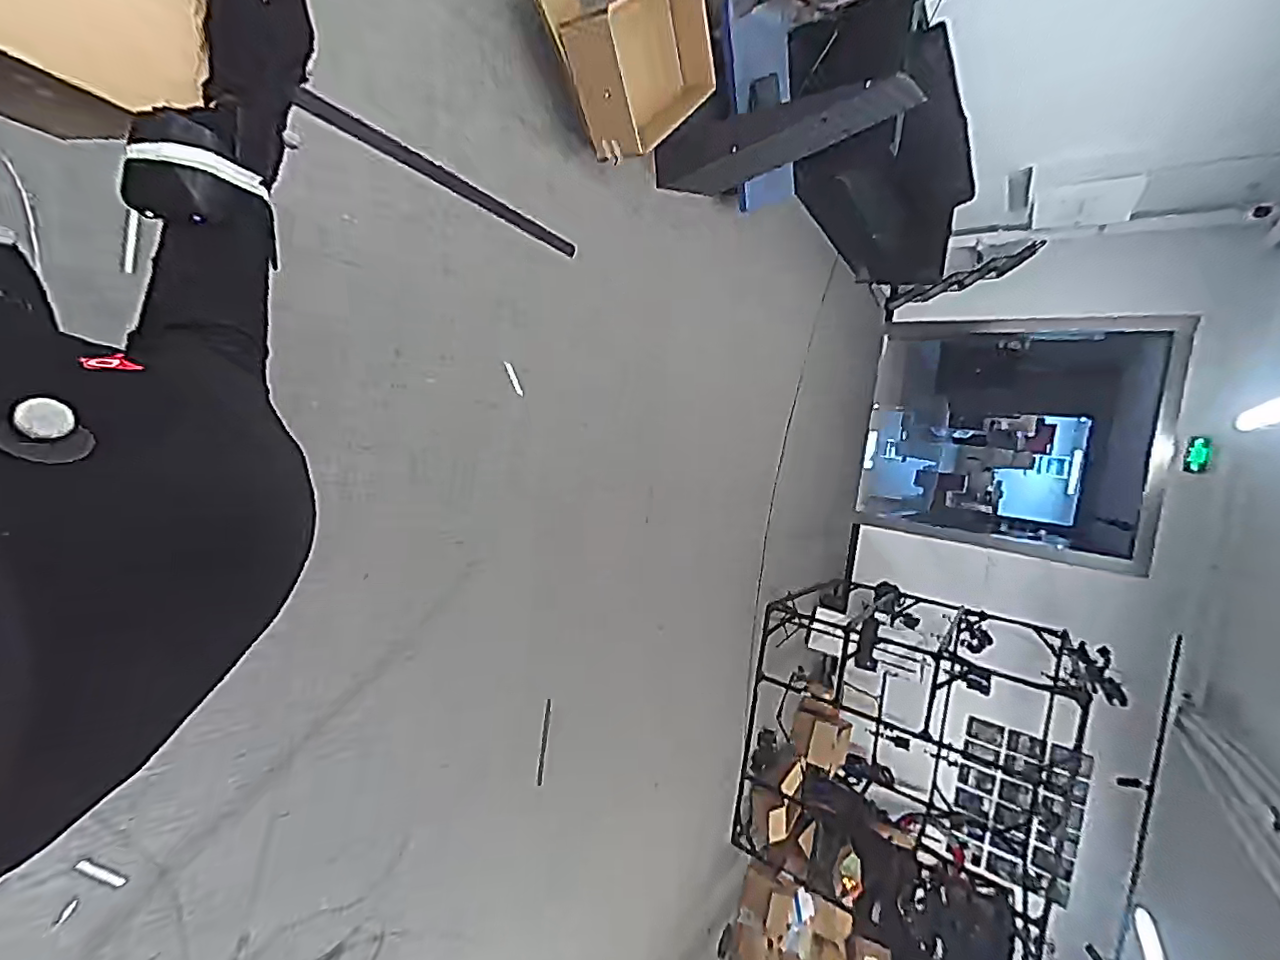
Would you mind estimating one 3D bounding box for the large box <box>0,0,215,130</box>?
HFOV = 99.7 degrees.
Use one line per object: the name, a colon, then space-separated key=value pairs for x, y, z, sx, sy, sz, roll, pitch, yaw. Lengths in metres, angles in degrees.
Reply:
large box: x=-0.515 y=-0.449 z=0.281 sx=0.408 sy=0.320 sz=0.320 roll=1 pitch=108 yaw=-61
